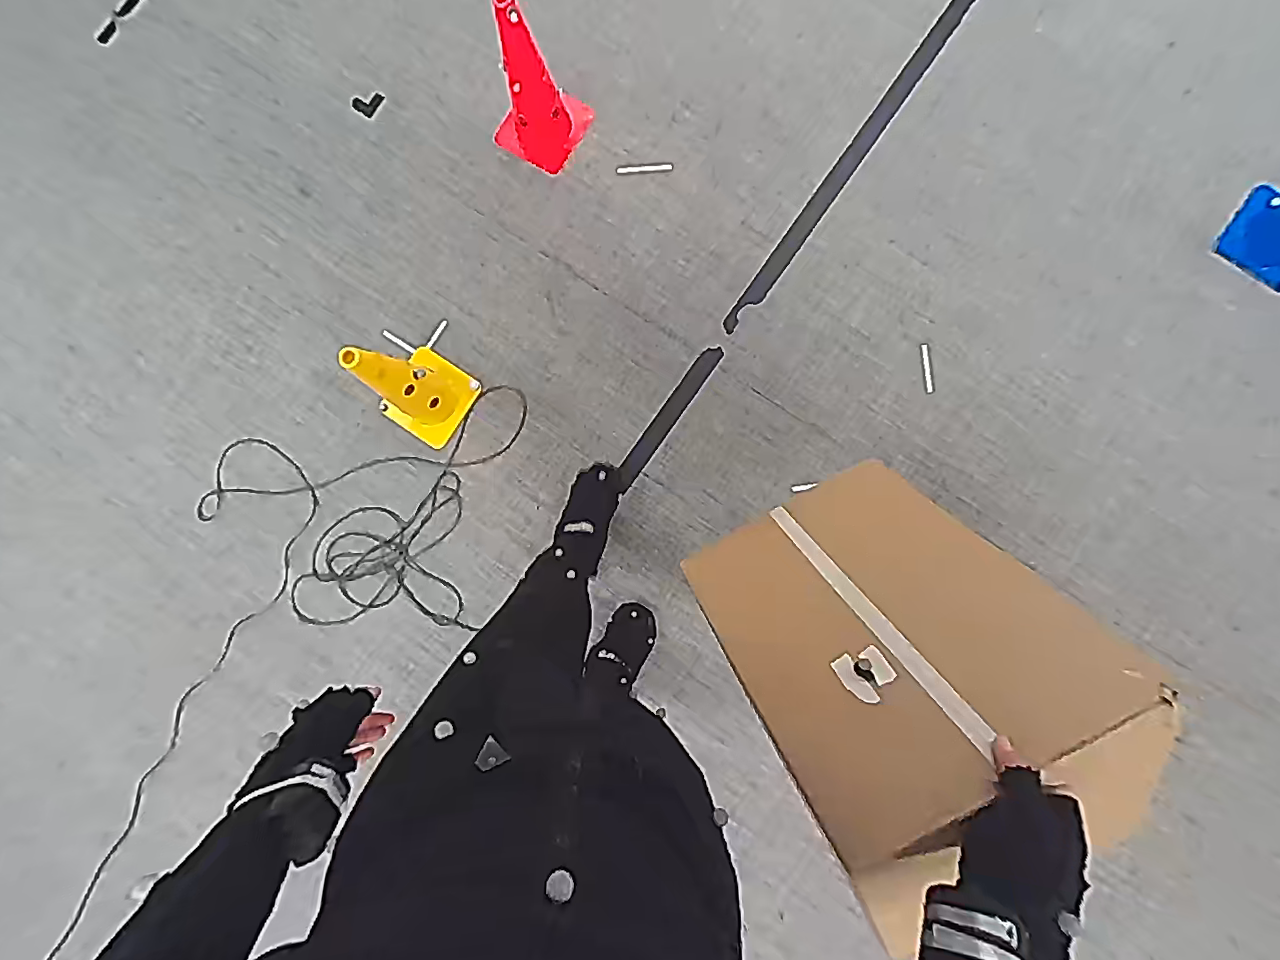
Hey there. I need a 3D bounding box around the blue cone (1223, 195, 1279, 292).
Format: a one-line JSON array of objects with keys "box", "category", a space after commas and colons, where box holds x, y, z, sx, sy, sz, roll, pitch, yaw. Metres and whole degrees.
[{"box": [1.499, -0.570, 1.121, 0.192, 0.380, 0.193, 38, 89, 3], "category": "blue cone"}]

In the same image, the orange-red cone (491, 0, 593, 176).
[{"box": [-0.256, -0.906, 1.216, 0.198, 0.360, 0.199, 32, 90, 5], "category": "orange-red cone"}]

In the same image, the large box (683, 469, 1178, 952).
[{"box": [0.303, 0.258, 0.685, 0.320, 0.408, 0.320, -29, 126, -1], "category": "large box"}]
